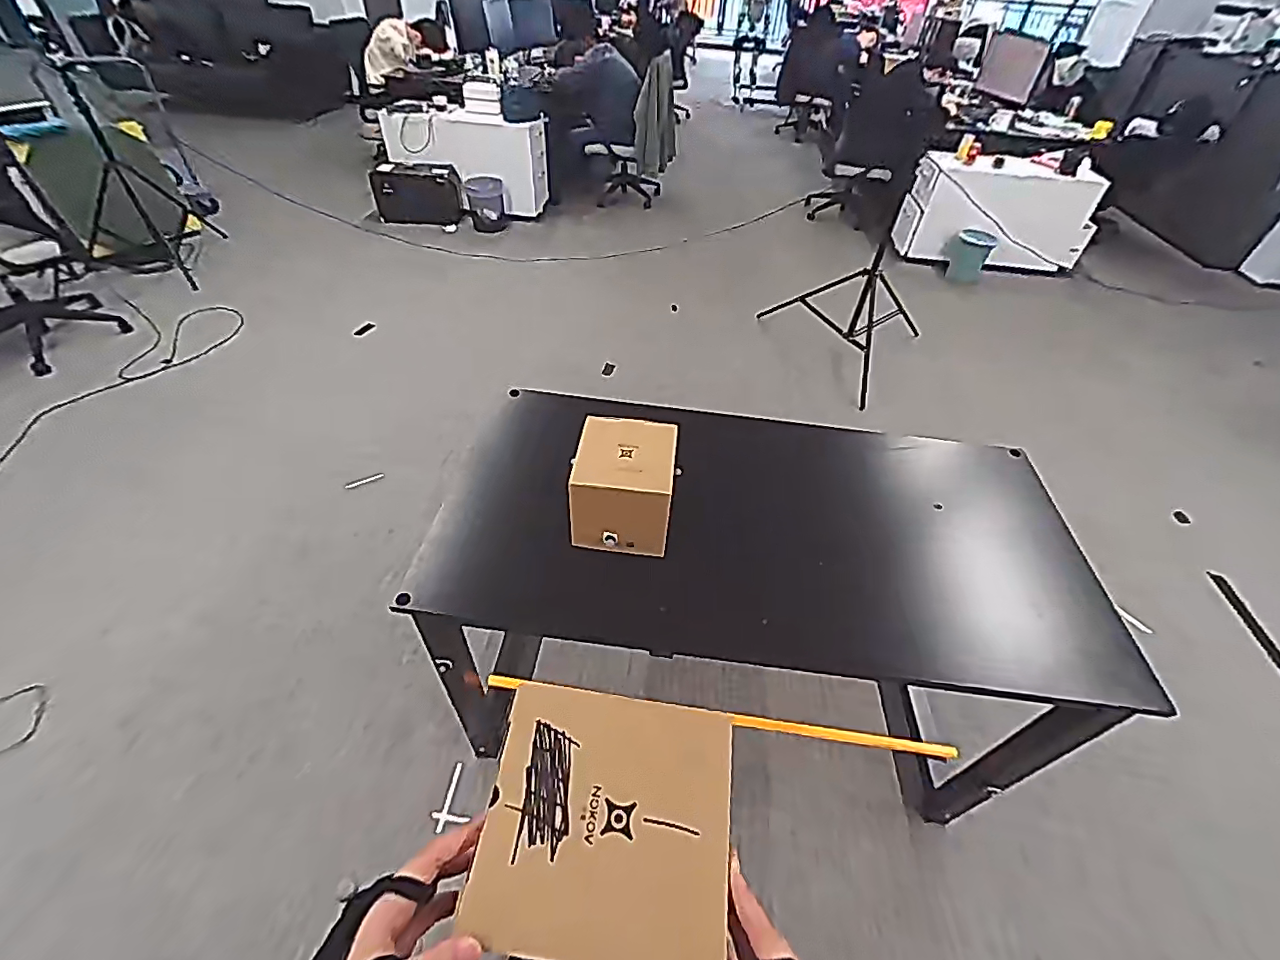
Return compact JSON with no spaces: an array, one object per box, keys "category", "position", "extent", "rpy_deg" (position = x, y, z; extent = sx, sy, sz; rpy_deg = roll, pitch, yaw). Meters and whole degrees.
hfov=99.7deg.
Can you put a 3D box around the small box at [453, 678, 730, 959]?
[{"category":"small box","position":[-0.027,0.285,0.450],"extent":[0.179,0.176,0.168],"rpy_deg":[7,50,3]}]

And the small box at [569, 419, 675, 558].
[{"category":"small box","position":[-0.029,0.015,0.966],"extent":[0.168,0.176,0.179],"rpy_deg":[5,45,2]}]
